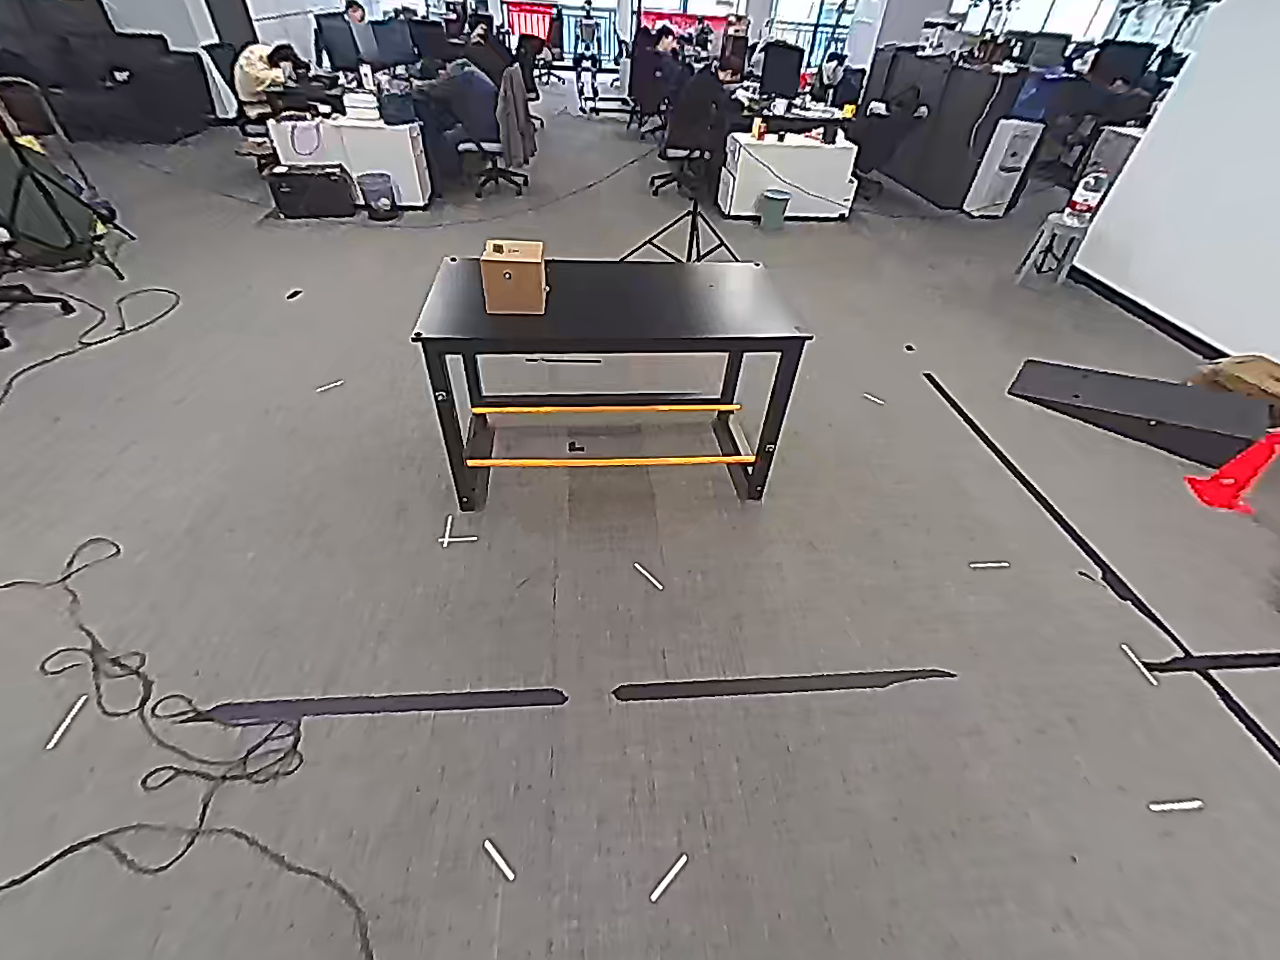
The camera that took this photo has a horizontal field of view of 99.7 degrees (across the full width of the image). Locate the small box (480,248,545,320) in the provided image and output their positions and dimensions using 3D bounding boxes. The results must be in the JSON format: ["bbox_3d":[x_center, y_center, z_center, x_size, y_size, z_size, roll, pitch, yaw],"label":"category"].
[{"bbox_3d":[-0.396,-0.618,1.707,0.179,0.176,0.168,0,42,-6],"label":"small box"}]
